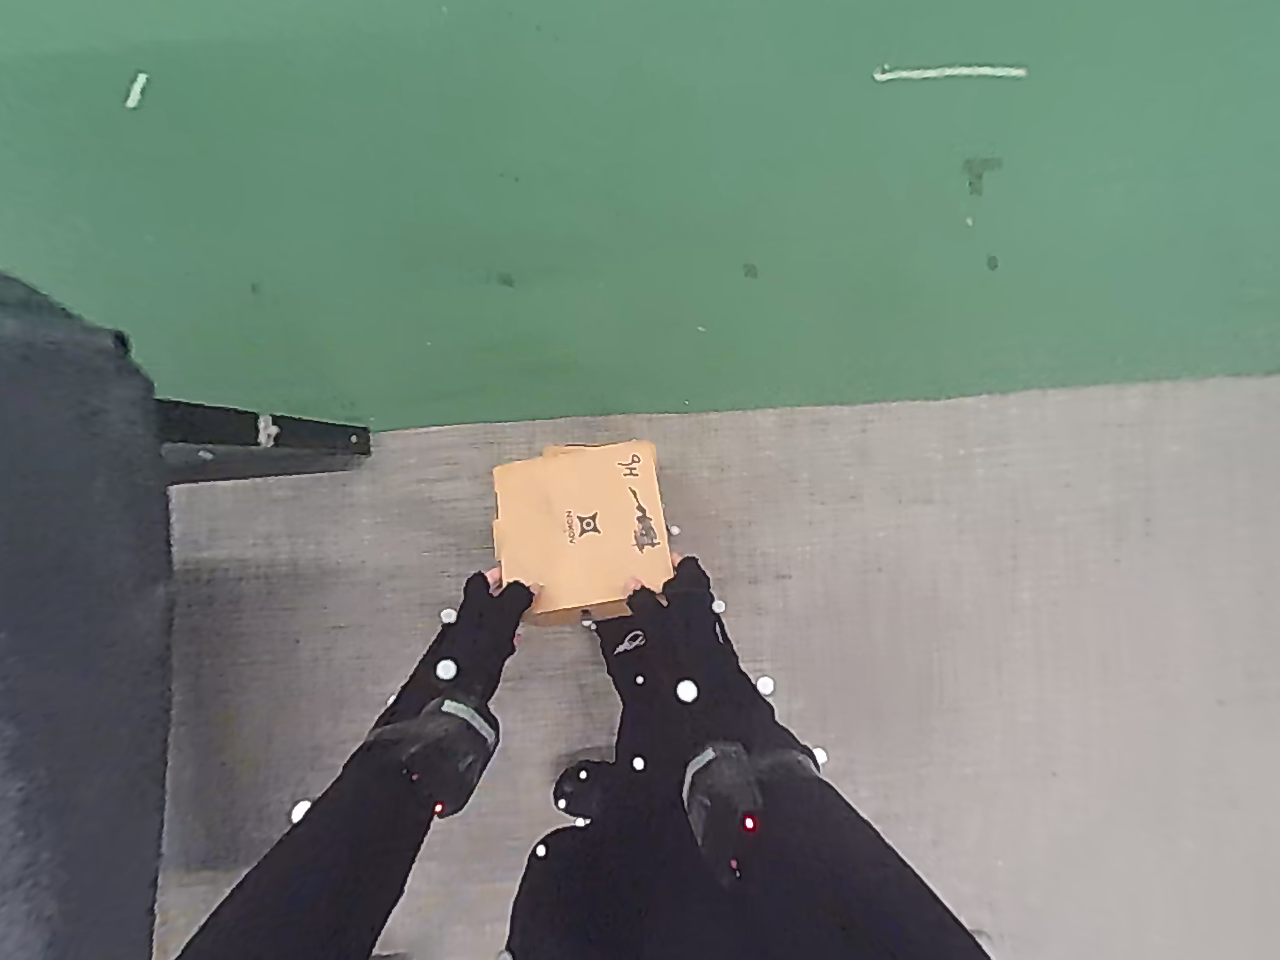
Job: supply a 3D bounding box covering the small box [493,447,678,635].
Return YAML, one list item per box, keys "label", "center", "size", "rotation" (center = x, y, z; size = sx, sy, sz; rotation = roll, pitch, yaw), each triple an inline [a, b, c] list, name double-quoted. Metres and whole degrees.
- label: "small box"
  center: [-0.056, 0.081, 0.628]
  size: [0.179, 0.176, 0.168]
  rotation: [-10, 69, 2]
